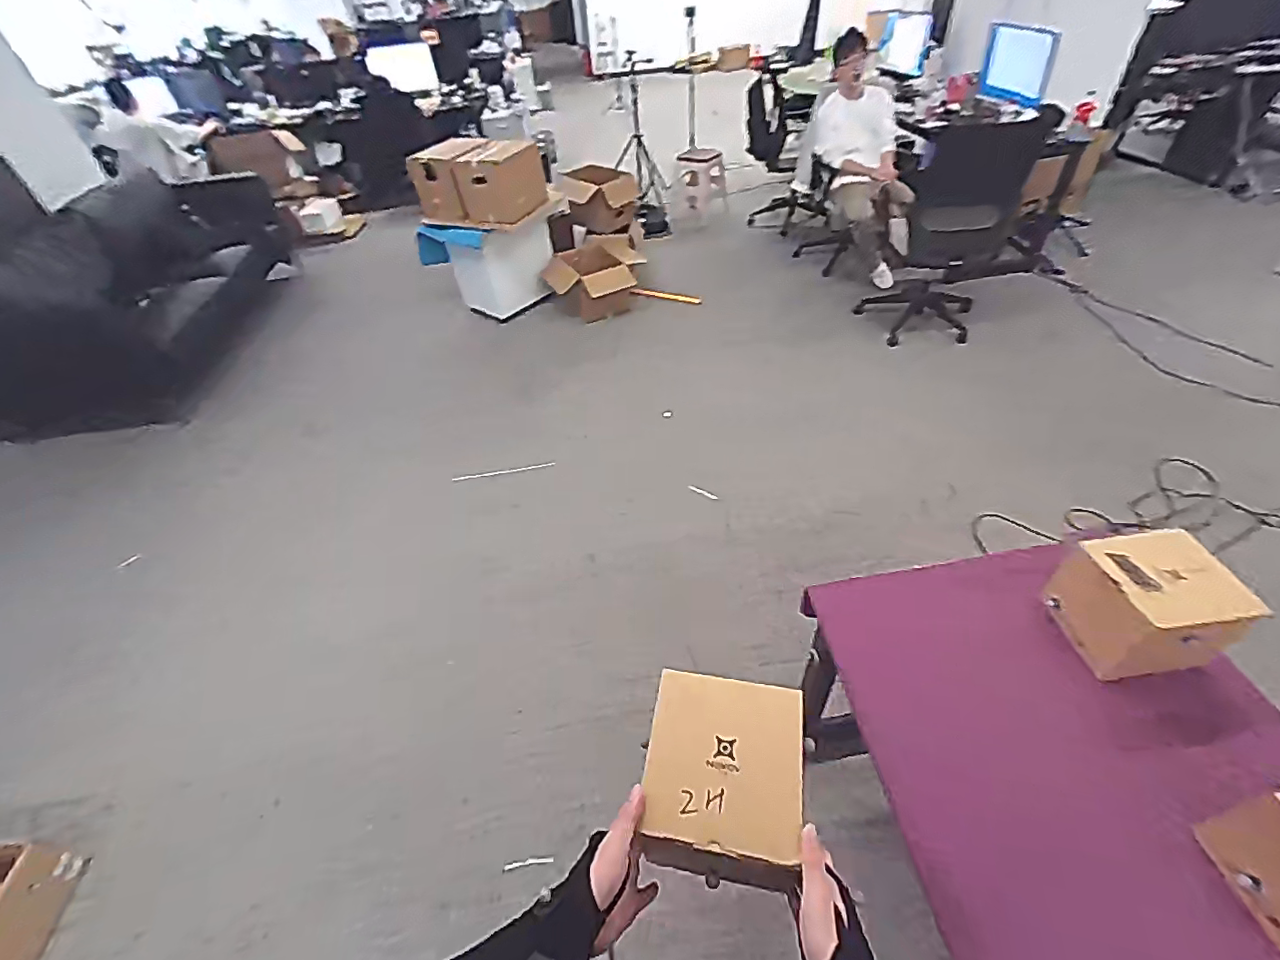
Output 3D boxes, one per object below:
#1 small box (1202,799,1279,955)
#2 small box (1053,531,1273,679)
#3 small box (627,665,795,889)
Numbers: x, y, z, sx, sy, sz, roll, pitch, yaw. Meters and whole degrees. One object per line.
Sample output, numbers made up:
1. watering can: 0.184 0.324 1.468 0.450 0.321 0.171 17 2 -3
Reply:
1. small box: 0.839 0.467 0.625 0.179 0.176 0.168 -8 43 -1
2. small box: 0.827 0.209 0.887 0.179 0.176 0.168 -7 45 0
3. small box: 0.089 0.349 0.639 0.168 0.176 0.179 4 46 12
